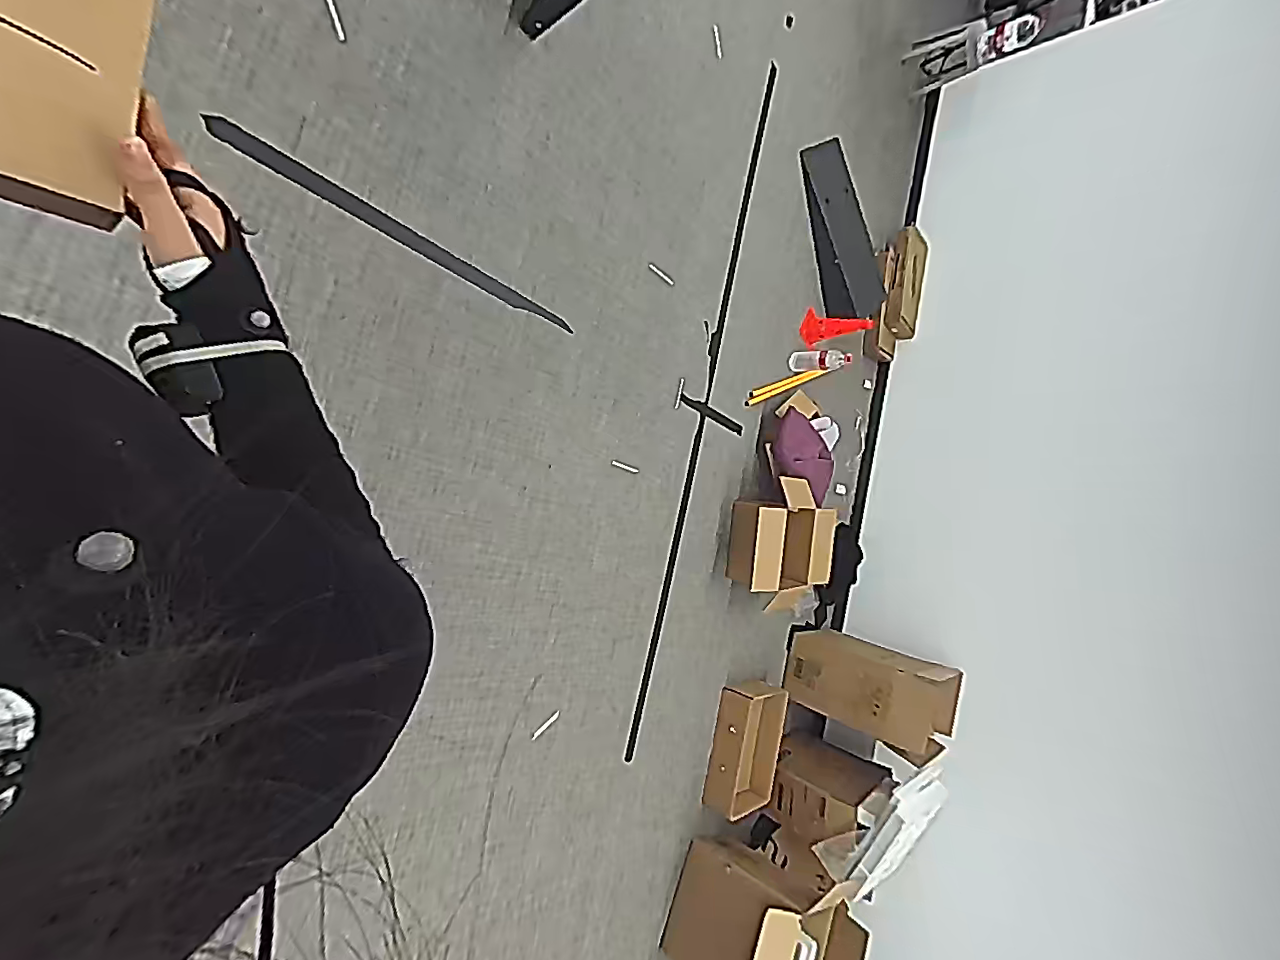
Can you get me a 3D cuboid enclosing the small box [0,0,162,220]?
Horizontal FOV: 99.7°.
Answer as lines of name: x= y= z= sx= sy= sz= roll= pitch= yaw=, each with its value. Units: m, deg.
small box: x=-0.441 y=-0.286 z=0.348 sx=0.179 sy=0.176 sz=0.168 roll=8 pitch=98 yaw=-48
